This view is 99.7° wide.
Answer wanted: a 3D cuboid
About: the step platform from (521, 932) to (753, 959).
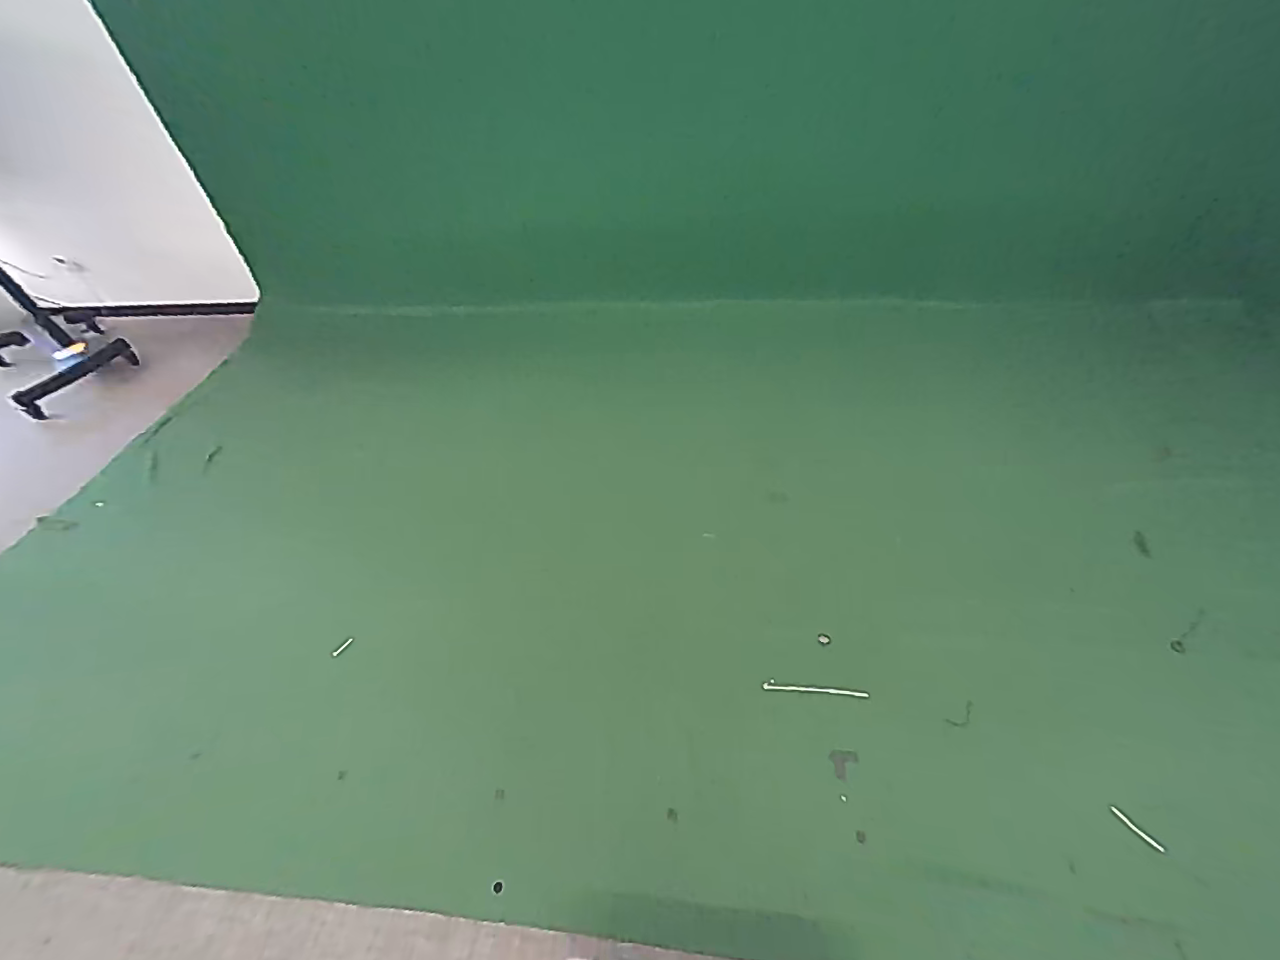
[{"bbox_3d":[0.110,1.015,0.948,0.684,0.204,0.286,1,47,7],"label":"step platform"}]
